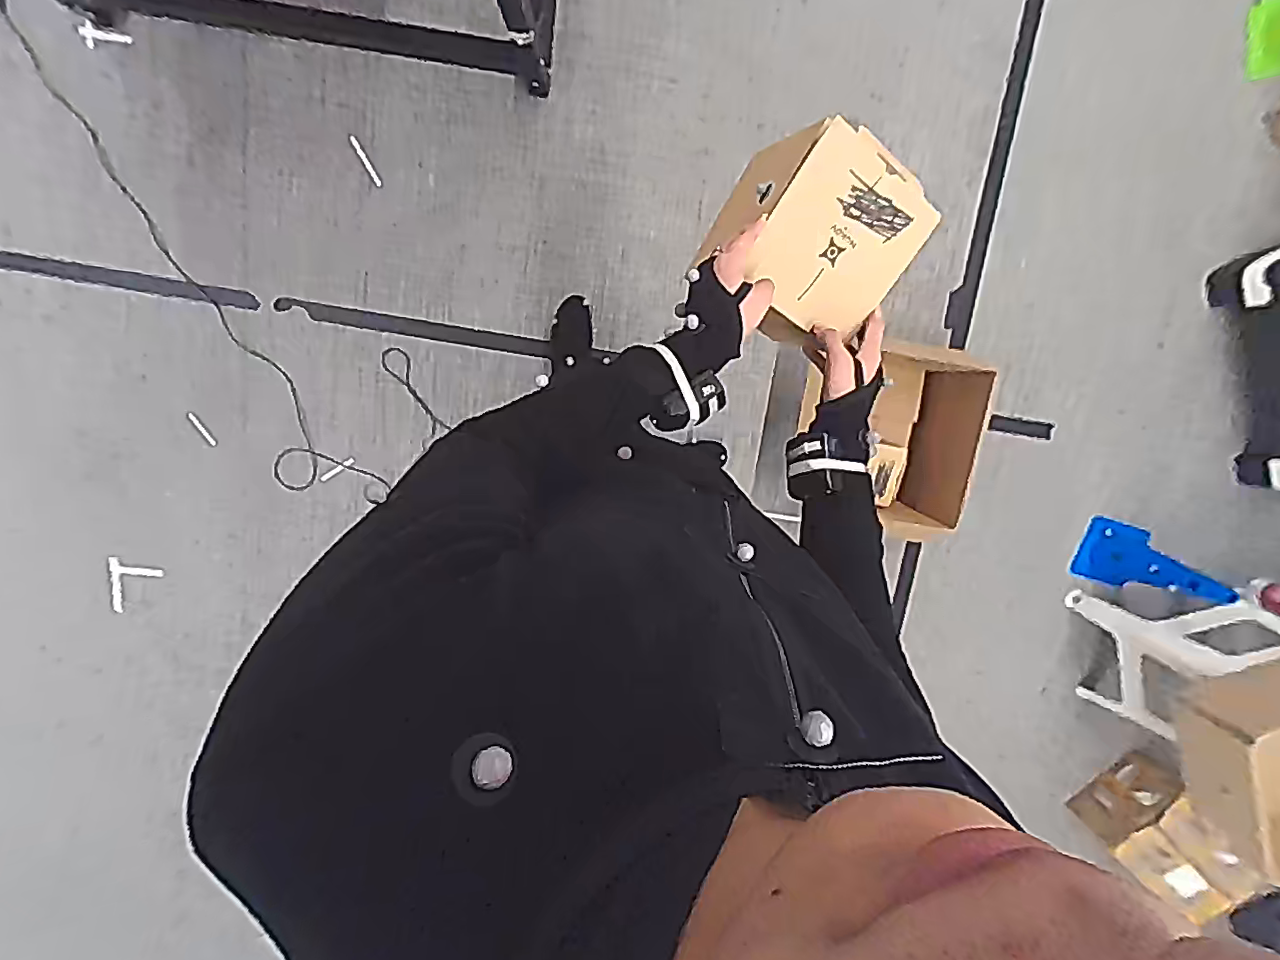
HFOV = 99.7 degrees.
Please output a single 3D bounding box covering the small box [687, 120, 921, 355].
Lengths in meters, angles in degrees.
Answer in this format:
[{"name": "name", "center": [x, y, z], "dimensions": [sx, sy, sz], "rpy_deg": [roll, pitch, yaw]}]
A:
[{"name": "small box", "center": [0.179, -0.276, 0.646], "dimensions": [0.168, 0.176, 0.179], "rpy_deg": [27, 101, -21]}]
